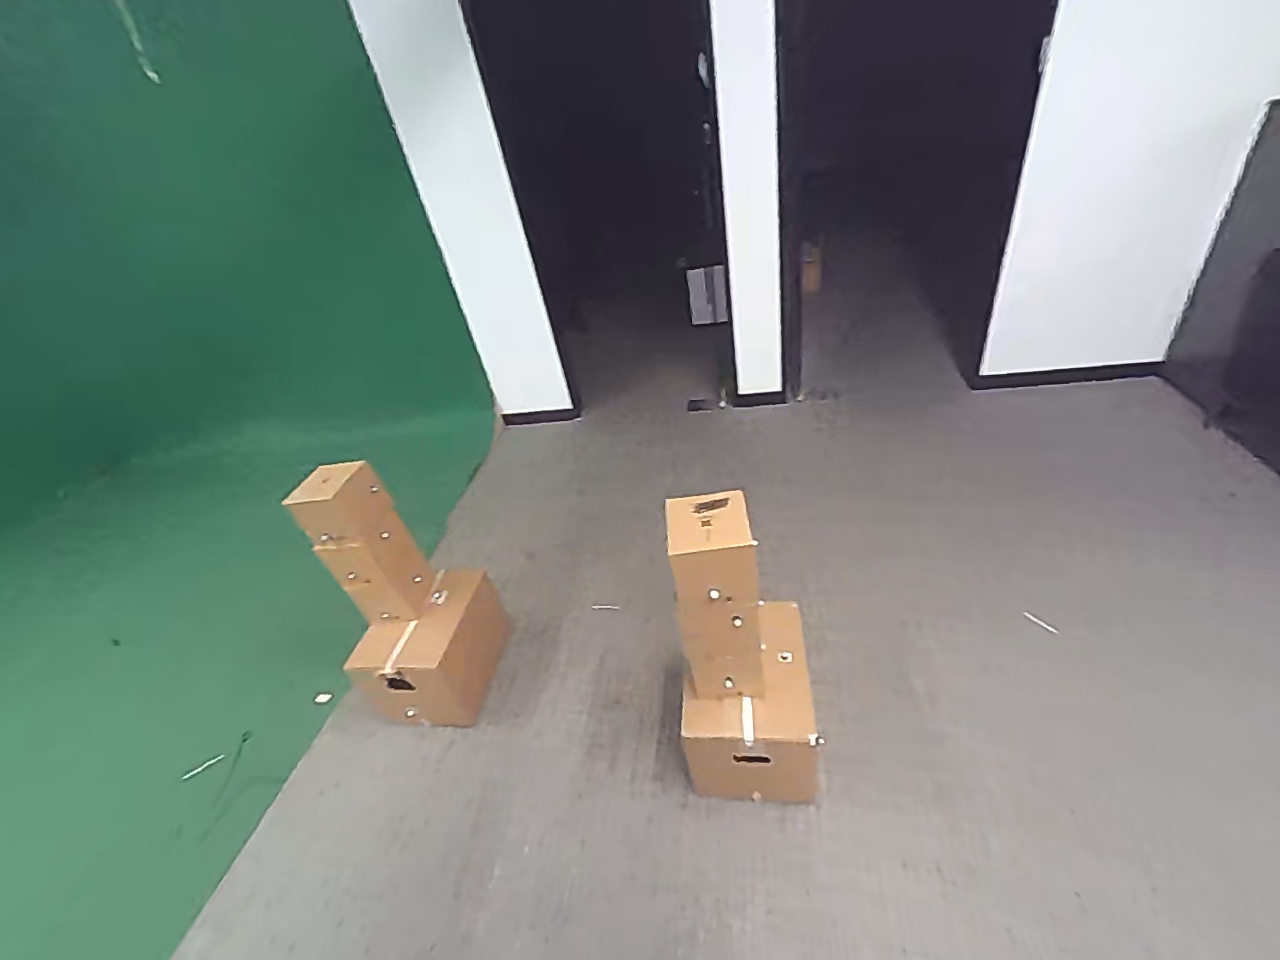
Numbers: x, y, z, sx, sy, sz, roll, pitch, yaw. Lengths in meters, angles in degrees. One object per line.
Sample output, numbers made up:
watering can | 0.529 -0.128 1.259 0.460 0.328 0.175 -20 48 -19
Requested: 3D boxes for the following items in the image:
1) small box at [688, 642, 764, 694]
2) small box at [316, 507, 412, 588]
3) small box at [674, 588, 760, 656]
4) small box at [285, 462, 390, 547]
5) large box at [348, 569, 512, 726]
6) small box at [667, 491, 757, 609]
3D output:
small box | 0.211 0.412 1.335 0.168 0.176 0.179 -7 36 10
small box | -0.825 0.205 1.643 0.168 0.176 0.179 -7 37 13
small box | 0.178 0.283 1.237 0.179 0.176 0.168 -7 35 10
small box | -0.855 0.071 1.554 0.168 0.176 0.179 -6 37 15
large box | -0.675 0.558 1.815 0.320 0.320 0.408 -4 35 12
small box | 0.150 0.148 1.146 0.168 0.176 0.179 -9 36 8
